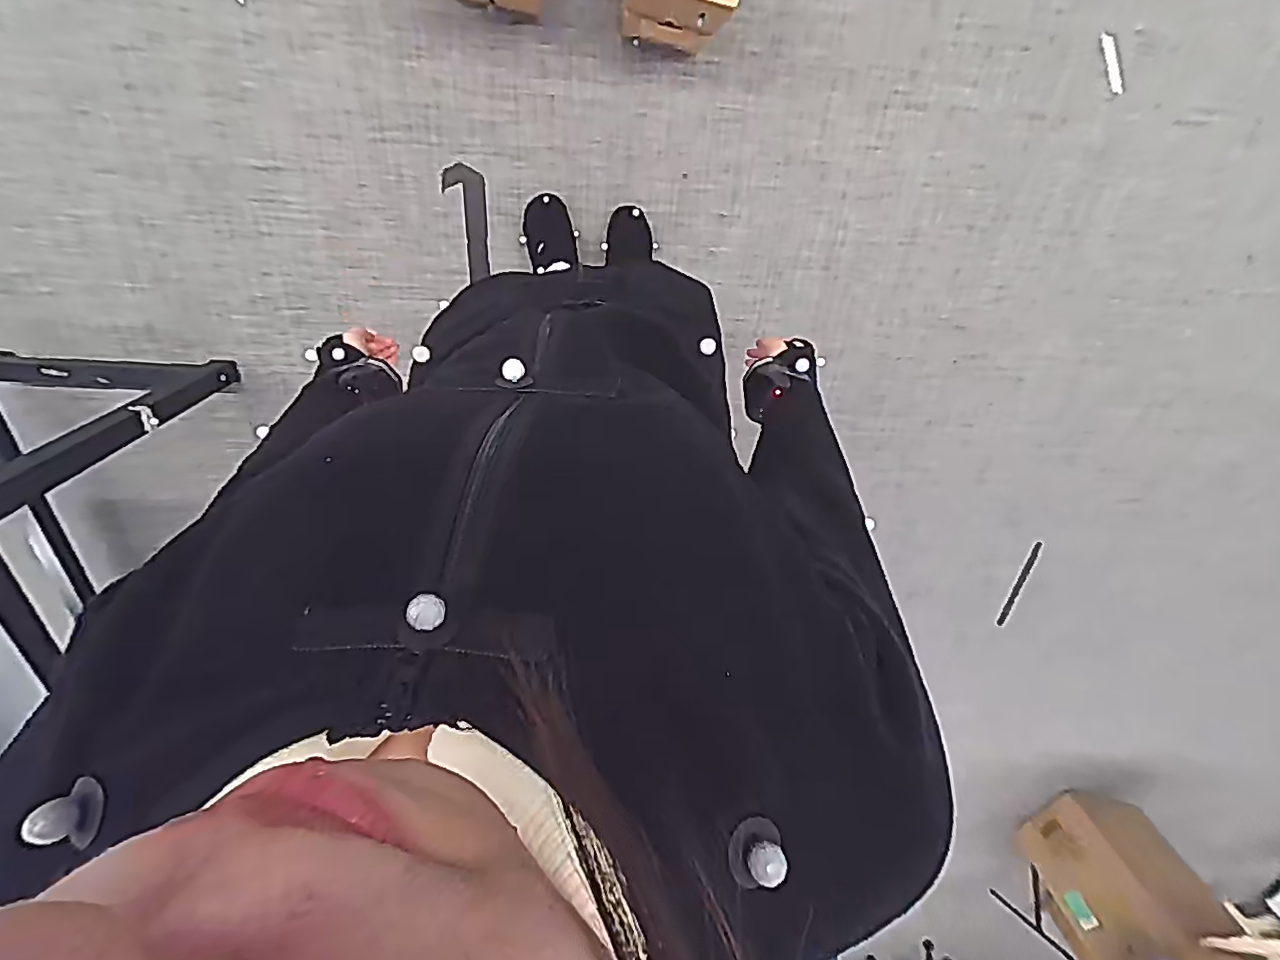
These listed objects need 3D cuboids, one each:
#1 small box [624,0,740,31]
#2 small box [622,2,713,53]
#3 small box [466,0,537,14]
[{"bbox_3d":[0.077,-0.848,0.858,0.179,0.176,0.168,8,118,-9],"label":"small box"},{"bbox_3d":[0.061,-0.925,1.000,0.168,0.176,0.179,7,118,-9],"label":"small box"},{"bbox_3d":[-0.266,-0.957,0.952,0.179,0.176,0.168,6,119,-9],"label":"small box"}]
